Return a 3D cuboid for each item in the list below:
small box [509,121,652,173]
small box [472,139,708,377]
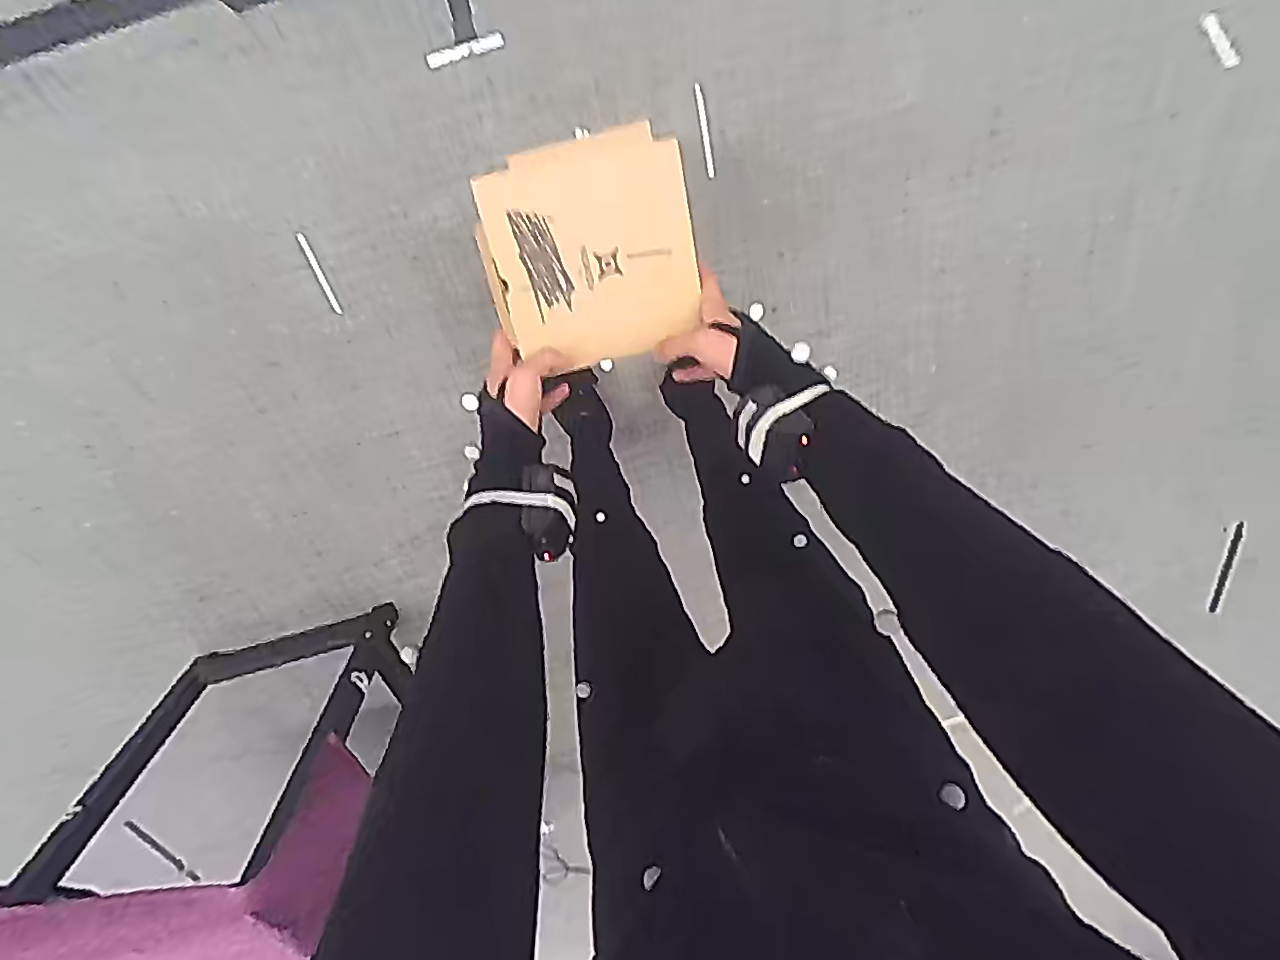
[{"bbox_3d":[-0.061,-0.340,0.707,0.168,0.176,0.179,-14,119,1],"label":"small box"},{"bbox_3d":[-0.046,-0.212,0.541,0.179,0.176,0.168,-14,111,-2],"label":"small box"}]
